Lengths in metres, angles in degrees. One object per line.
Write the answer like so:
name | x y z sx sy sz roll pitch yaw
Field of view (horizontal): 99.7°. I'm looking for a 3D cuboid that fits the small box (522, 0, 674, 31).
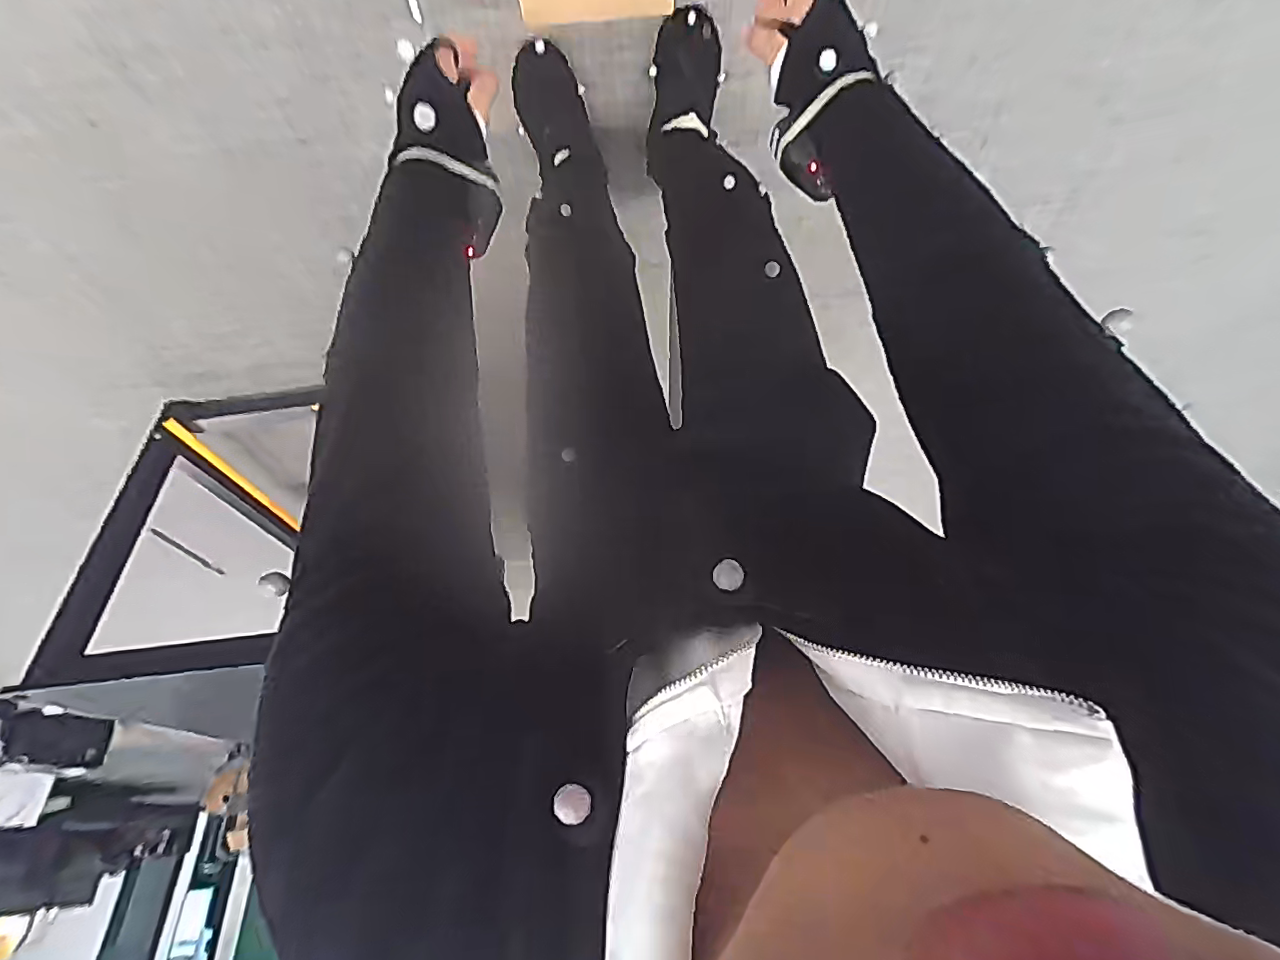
small box | -0.055 -0.616 0.568 0.168 0.176 0.179 -6 148 0
